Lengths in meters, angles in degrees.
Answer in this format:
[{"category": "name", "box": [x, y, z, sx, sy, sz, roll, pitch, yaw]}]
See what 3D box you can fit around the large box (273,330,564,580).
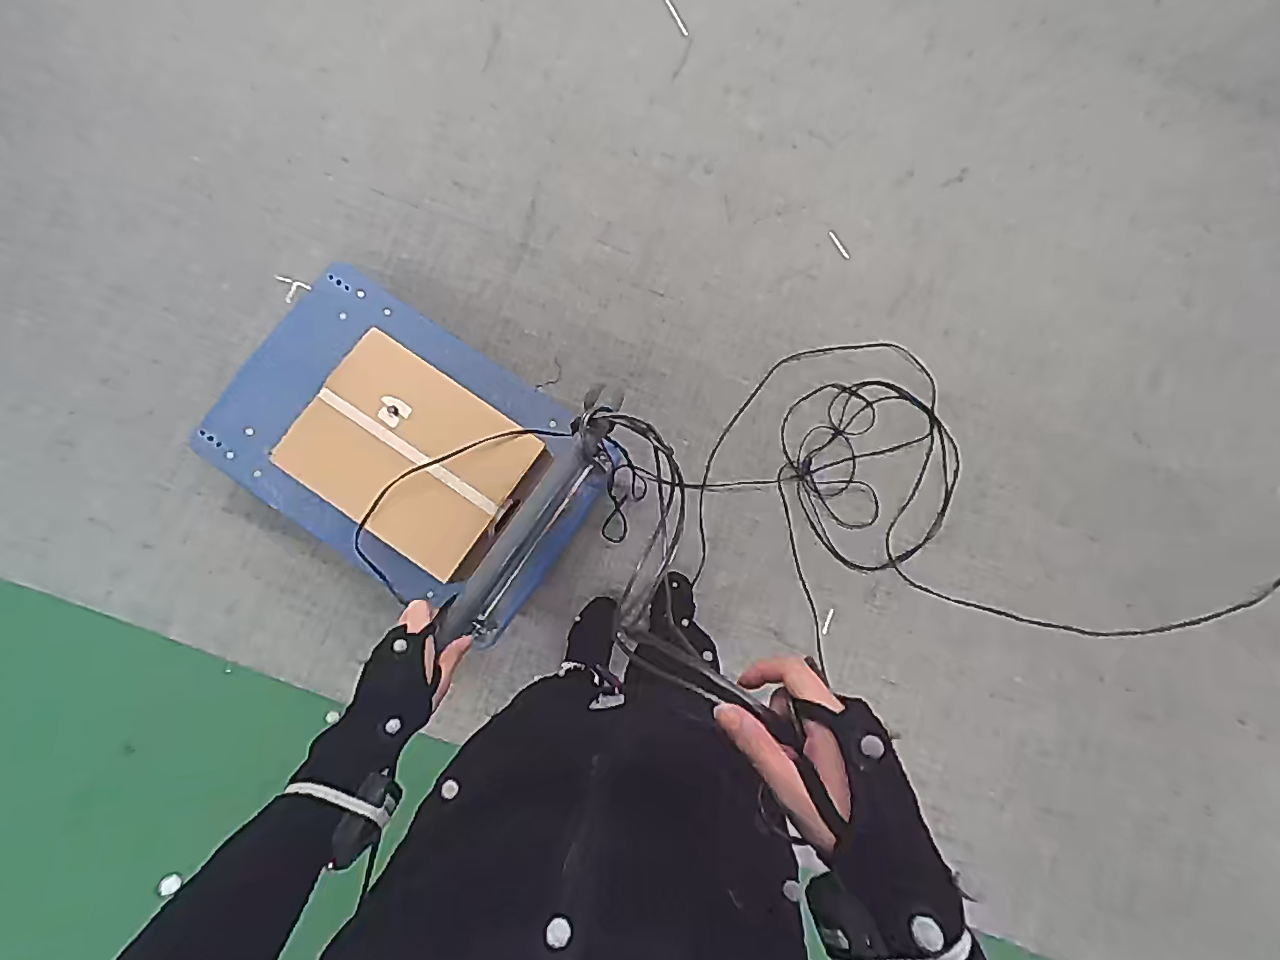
[{"category": "large box", "box": [-0.420, -0.032, 1.130, 0.408, 0.320, 0.320, 34, 82, 3]}]
